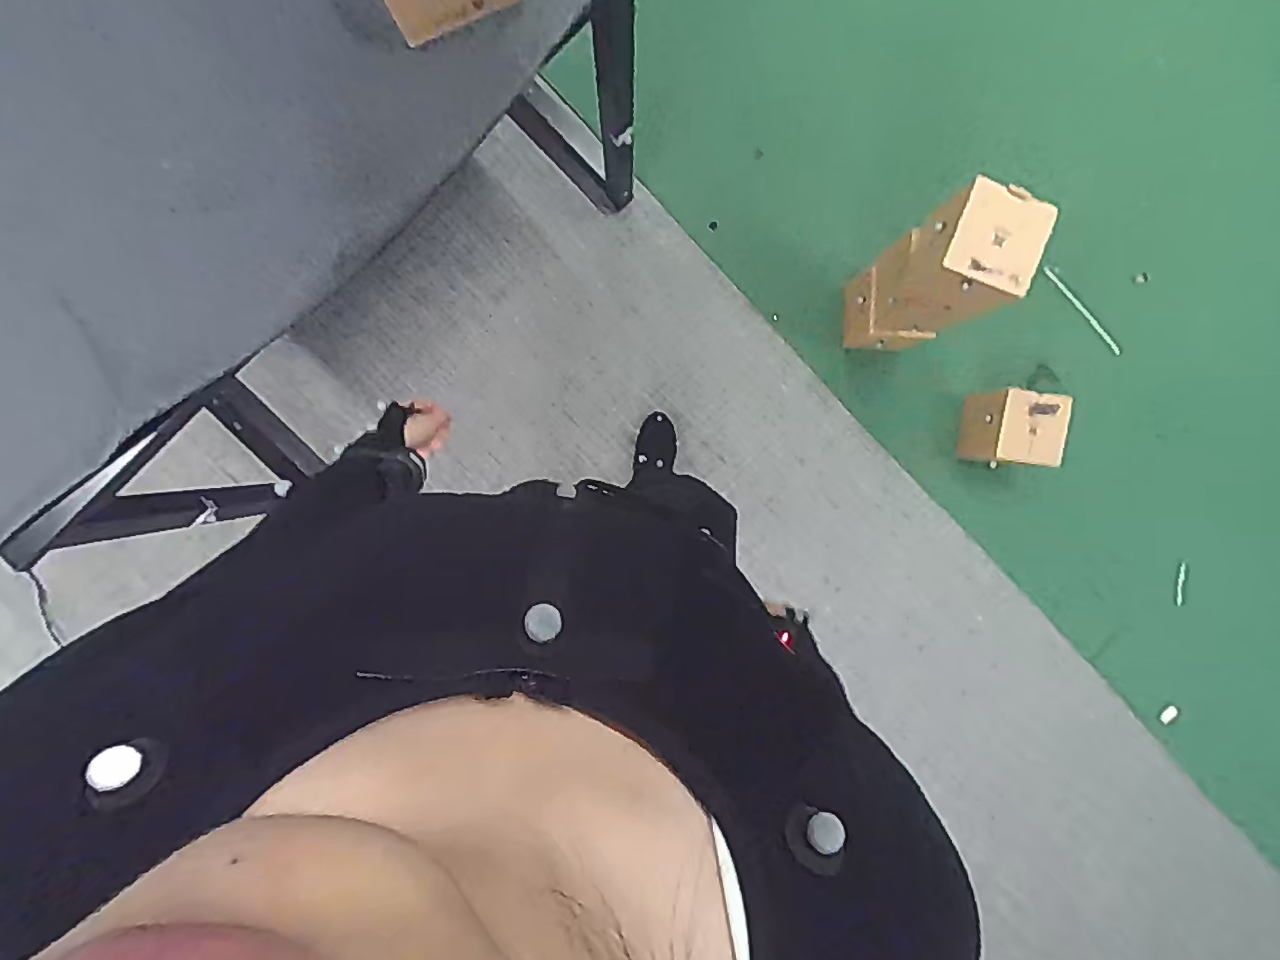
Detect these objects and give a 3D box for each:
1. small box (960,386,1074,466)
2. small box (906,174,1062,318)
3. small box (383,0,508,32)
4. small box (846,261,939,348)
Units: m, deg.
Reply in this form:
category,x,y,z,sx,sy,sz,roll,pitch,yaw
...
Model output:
category,x,y,z,sx,sy,sz,roll,pitch,yaw
small box,0.965,-0.135,1.400,0.168,0.176,0.179,8,94,-2
small box,0.653,-0.443,1.051,0.168,0.176,0.179,21,92,-2
small box,-0.259,-0.666,0.615,0.168,0.176,0.179,-24,91,0
small box,0.640,-0.440,1.381,0.168,0.176,0.179,2,92,-1
